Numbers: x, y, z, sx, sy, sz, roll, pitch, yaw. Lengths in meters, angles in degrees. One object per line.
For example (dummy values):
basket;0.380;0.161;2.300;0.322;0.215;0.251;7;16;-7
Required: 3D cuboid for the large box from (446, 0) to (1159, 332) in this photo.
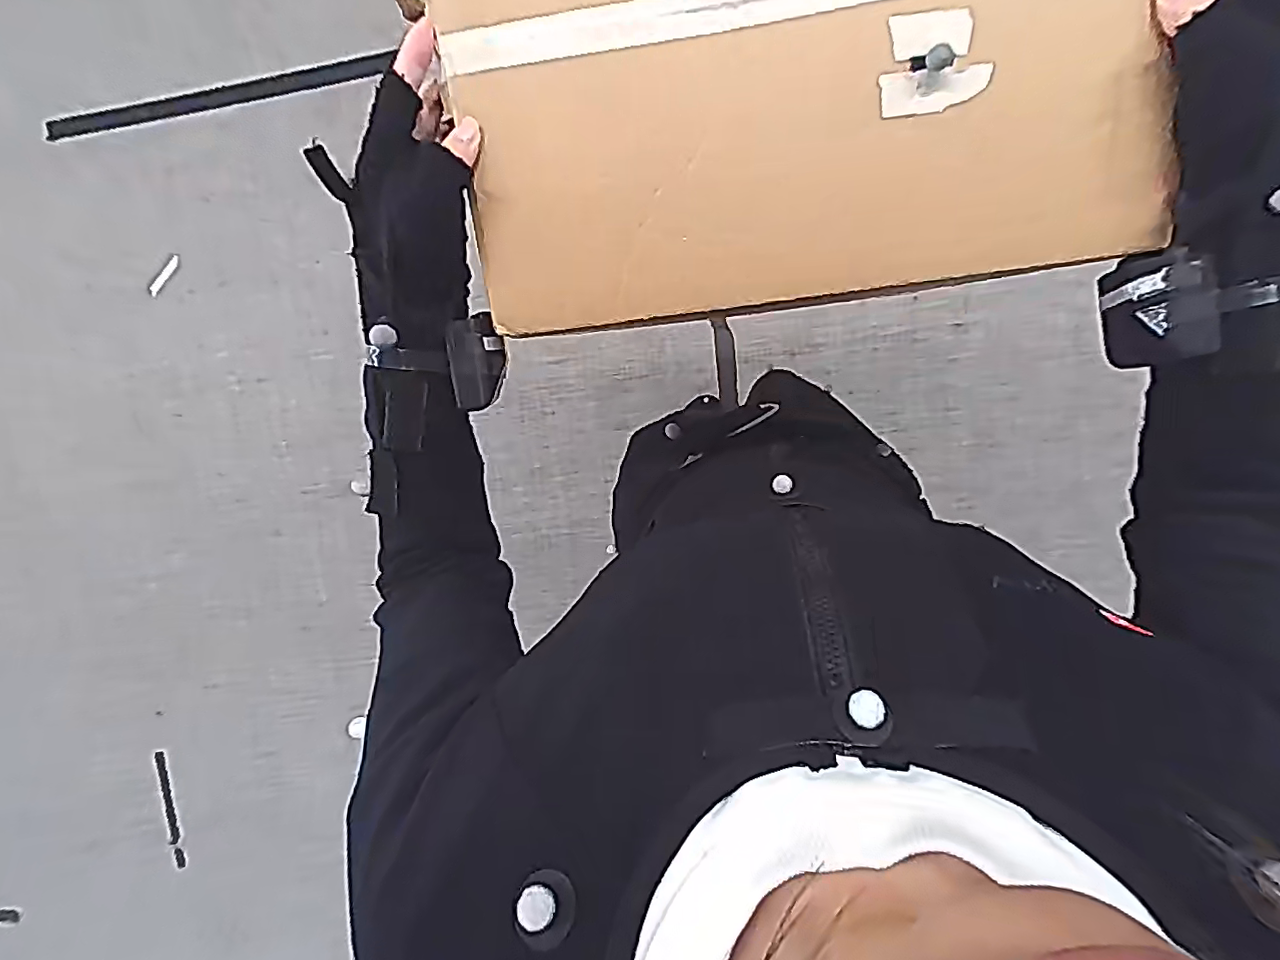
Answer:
large box;0.091;-0.310;0.452;0.408;0.320;0.320;-7;106;4
